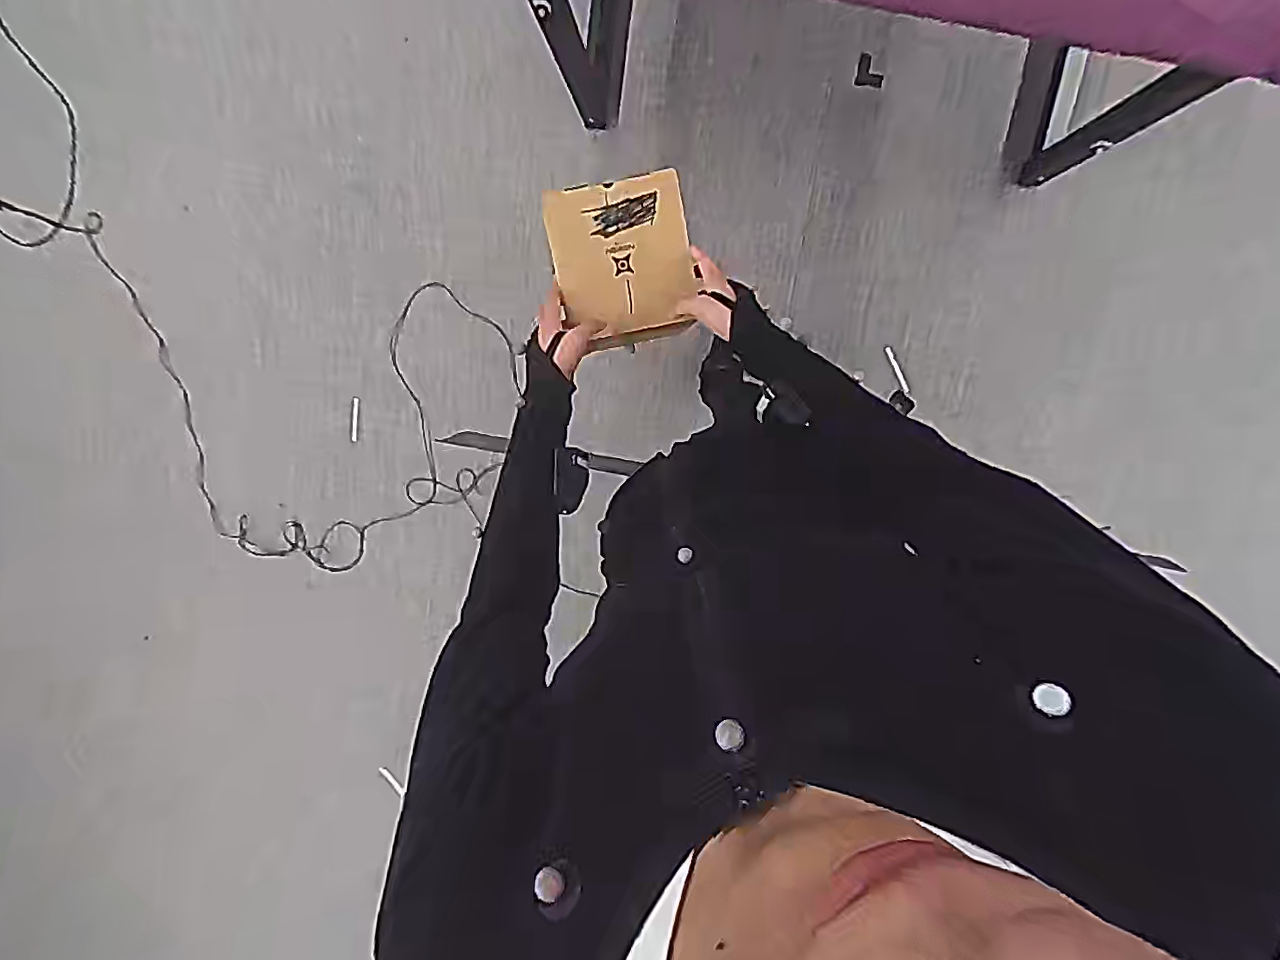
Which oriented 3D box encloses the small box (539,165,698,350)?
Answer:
[{"bbox_3d":[-0.030,-0.282,0.721,0.168,0.176,0.179,-12,100,-2],"label":"small box"}]
